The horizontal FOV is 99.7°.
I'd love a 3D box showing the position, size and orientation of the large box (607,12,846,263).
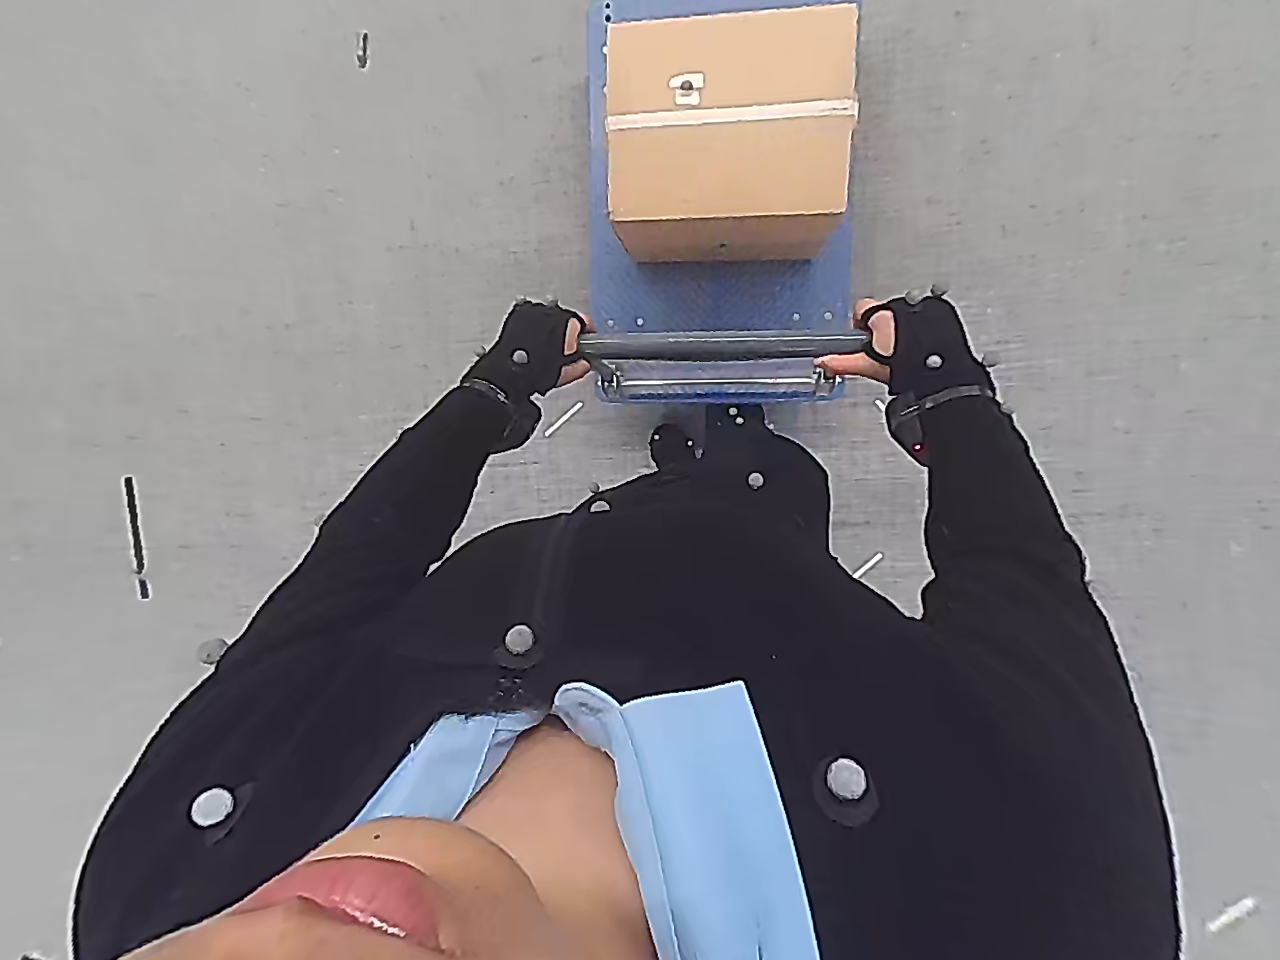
[{"bbox_3d":[0.164,-0.629,1.068,0.408,0.320,0.320,1,98,8],"label":"large box"}]
